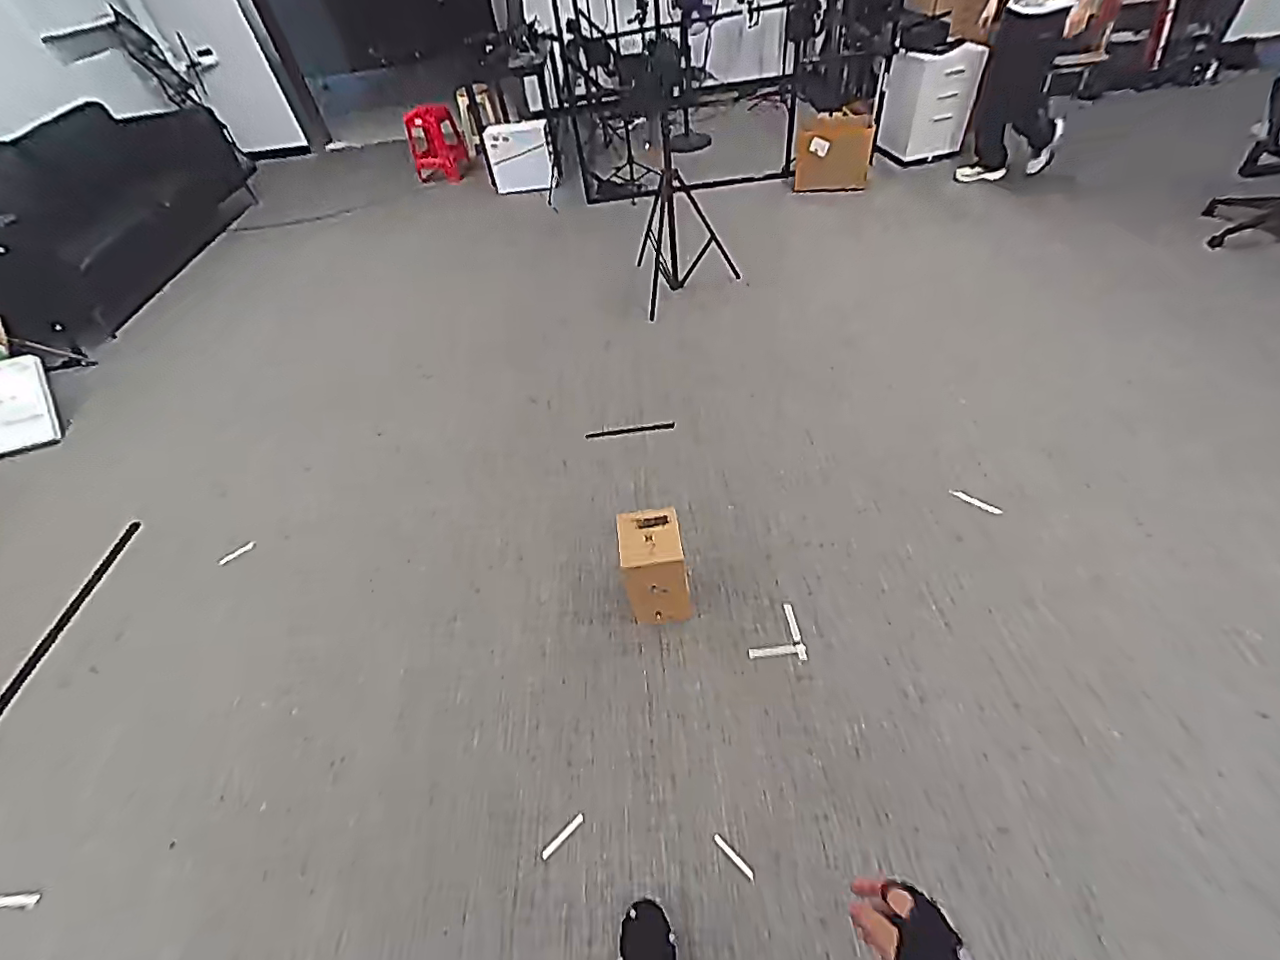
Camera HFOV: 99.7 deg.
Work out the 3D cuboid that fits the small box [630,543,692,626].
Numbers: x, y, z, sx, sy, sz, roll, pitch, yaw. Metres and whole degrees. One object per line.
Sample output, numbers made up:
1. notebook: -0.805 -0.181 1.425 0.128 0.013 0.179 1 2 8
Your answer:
1. small box: 0.062 0.314 1.617 0.168 0.176 0.179 -8 47 1
